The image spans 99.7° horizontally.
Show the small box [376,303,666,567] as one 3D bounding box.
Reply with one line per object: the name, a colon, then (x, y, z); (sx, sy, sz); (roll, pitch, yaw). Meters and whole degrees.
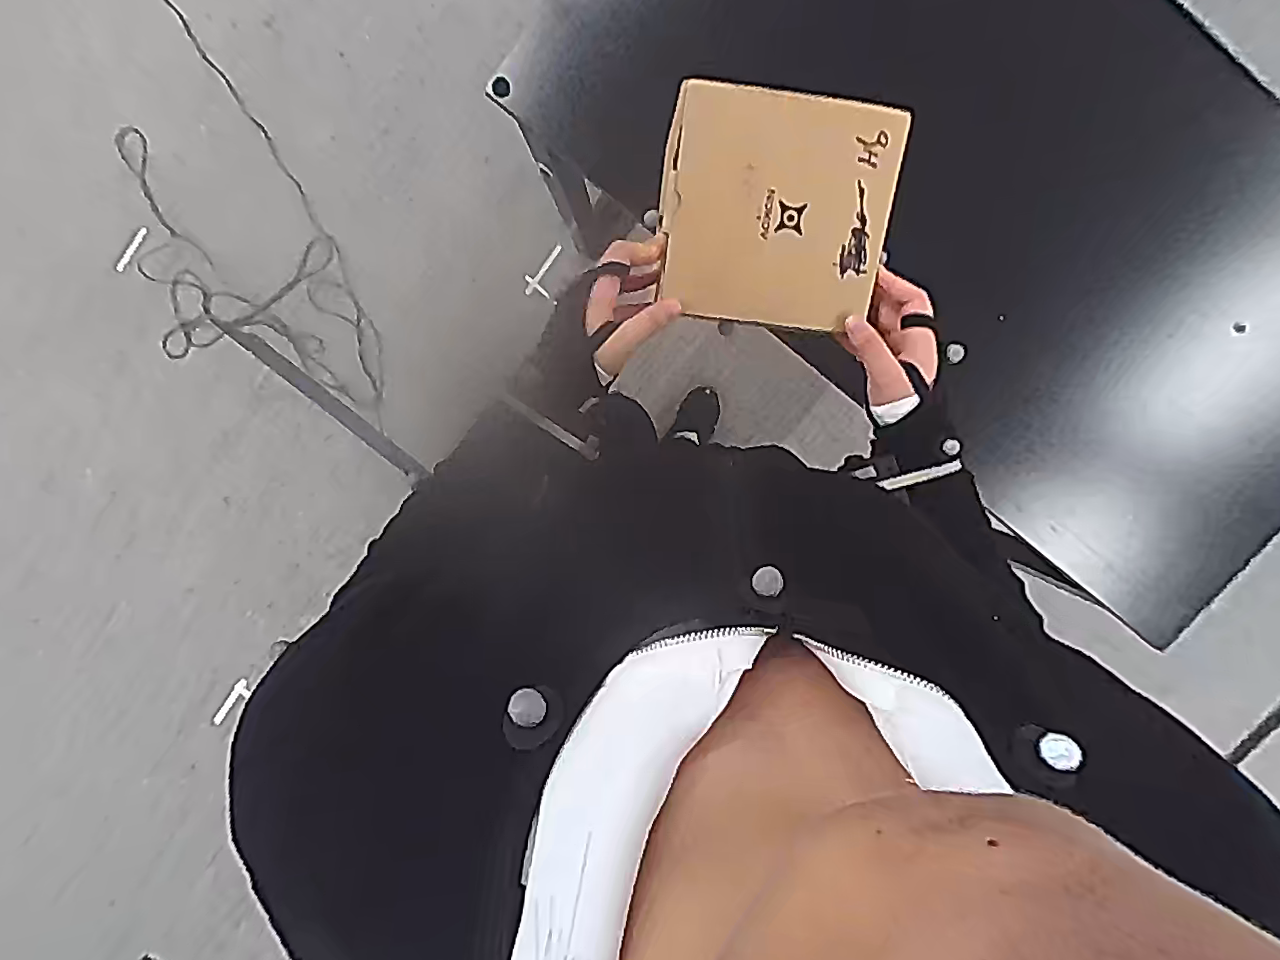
small box: (-0.114, -0.037, 0.487); (0.179, 0.168, 0.176); (-28, 99, -30)
